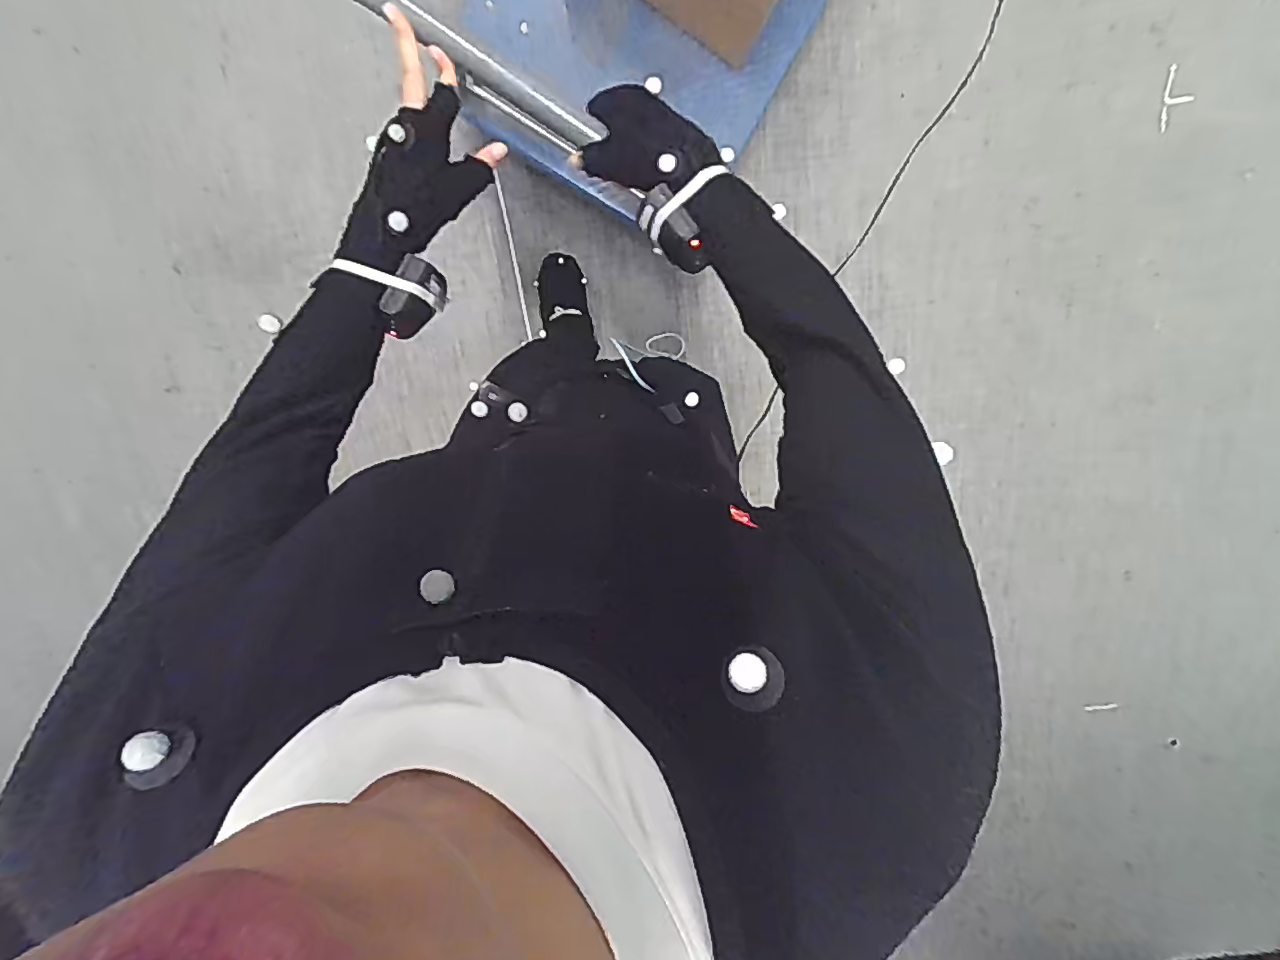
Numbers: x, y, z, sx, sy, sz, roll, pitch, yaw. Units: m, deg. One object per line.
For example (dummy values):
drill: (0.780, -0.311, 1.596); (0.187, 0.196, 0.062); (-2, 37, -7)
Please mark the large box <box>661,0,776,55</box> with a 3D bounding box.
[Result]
large box: (0.099, -0.964, 0.813); (0.408, 0.320, 0.320); (30, 107, -10)
